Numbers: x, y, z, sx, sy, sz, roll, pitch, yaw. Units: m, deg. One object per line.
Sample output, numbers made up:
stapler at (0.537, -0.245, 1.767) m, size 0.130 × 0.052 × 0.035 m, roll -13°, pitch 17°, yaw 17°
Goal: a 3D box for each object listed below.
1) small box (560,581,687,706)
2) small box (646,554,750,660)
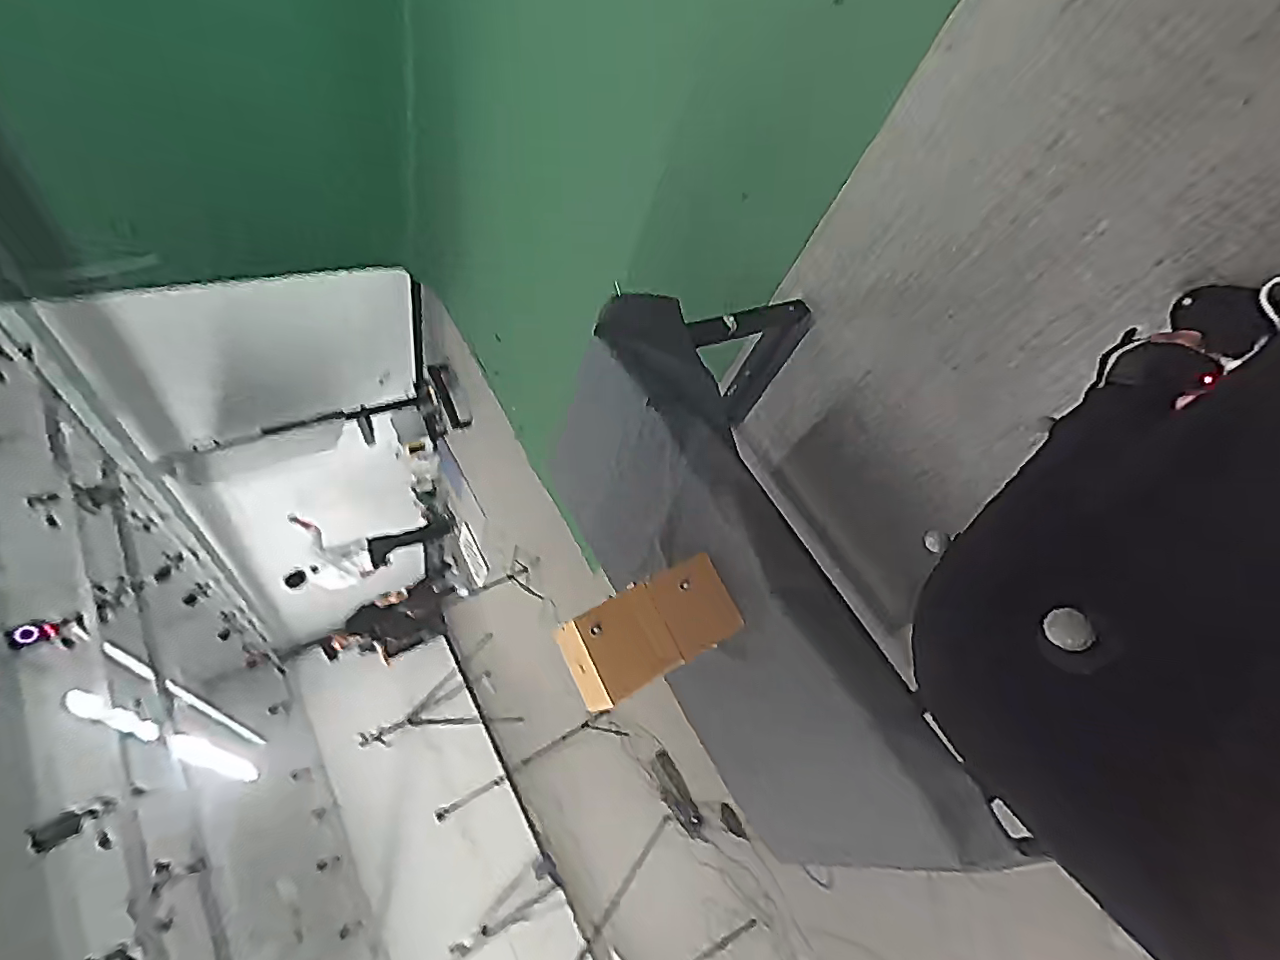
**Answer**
small box at (-0.034, 0.328, 1.085) m, size 0.179 × 0.176 × 0.168 m, roll 62°, pitch 150°, yaw 13°
small box at (0.099, 0.274, 1.162) m, size 0.179 × 0.176 × 0.168 m, roll 60°, pitch 150°, yaw 12°
